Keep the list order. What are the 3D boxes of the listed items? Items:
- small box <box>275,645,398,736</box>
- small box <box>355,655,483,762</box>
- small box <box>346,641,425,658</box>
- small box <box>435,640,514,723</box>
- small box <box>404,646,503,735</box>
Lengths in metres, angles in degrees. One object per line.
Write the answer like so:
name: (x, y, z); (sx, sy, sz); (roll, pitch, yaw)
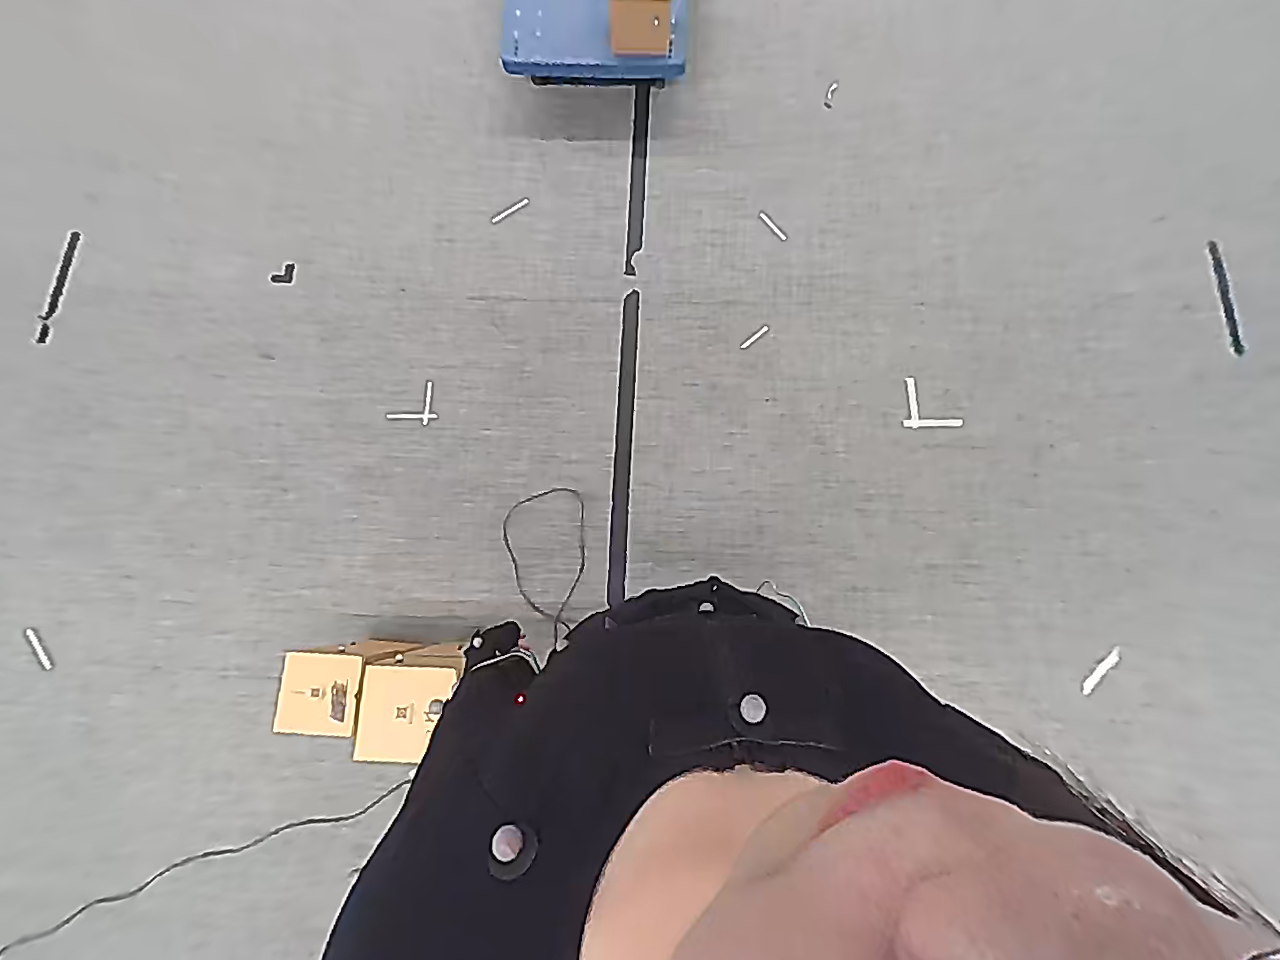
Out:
small box: (-0.681, 0.474, 1.237); (0.179, 0.176, 0.168); (3, 78, 3)
small box: (-0.427, 0.443, 1.070); (0.179, 0.176, 0.168); (2, 78, 0)
small box: (-0.678, 0.511, 1.397); (0.179, 0.176, 0.168); (4, 78, 2)
small box: (-0.428, 0.512, 1.393); (0.168, 0.176, 0.179); (2, 77, 1)
small box: (-0.427, 0.474, 1.234); (0.179, 0.176, 0.168); (1, 78, 1)
